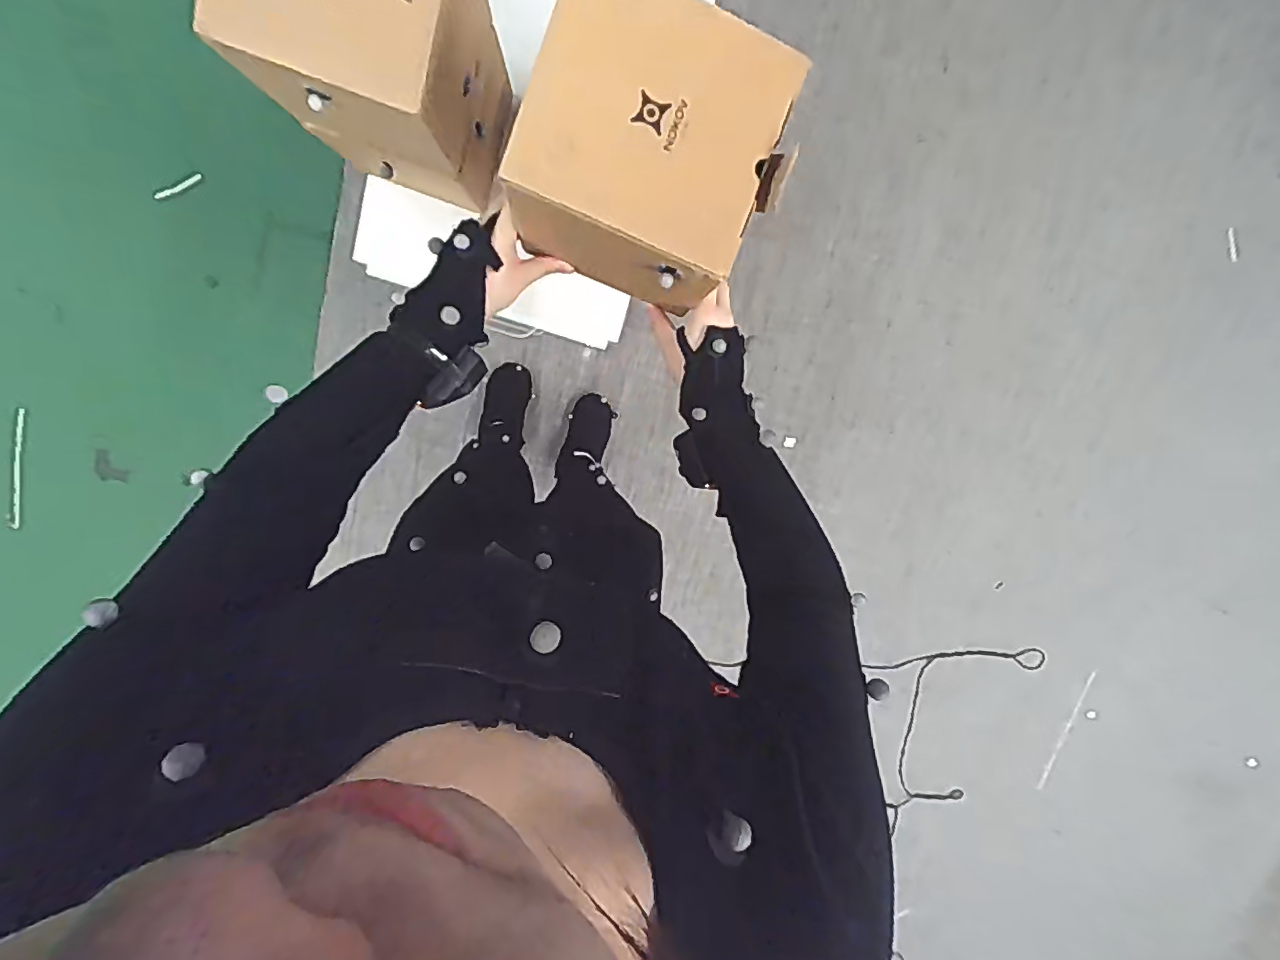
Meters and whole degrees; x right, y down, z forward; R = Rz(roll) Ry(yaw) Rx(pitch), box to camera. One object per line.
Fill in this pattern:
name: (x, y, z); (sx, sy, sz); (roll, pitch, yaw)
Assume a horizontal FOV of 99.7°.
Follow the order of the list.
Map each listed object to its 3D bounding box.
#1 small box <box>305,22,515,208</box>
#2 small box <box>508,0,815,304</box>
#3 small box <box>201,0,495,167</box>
small box: (-0.265, -0.457, 0.659); (0.179, 0.176, 0.168); (16, 102, -10)
small box: (0.006, -0.265, 0.454); (0.179, 0.176, 0.168); (19, 94, -10)
small box: (-0.247, -0.421, 0.499); (0.179, 0.176, 0.168); (15, 102, -11)
